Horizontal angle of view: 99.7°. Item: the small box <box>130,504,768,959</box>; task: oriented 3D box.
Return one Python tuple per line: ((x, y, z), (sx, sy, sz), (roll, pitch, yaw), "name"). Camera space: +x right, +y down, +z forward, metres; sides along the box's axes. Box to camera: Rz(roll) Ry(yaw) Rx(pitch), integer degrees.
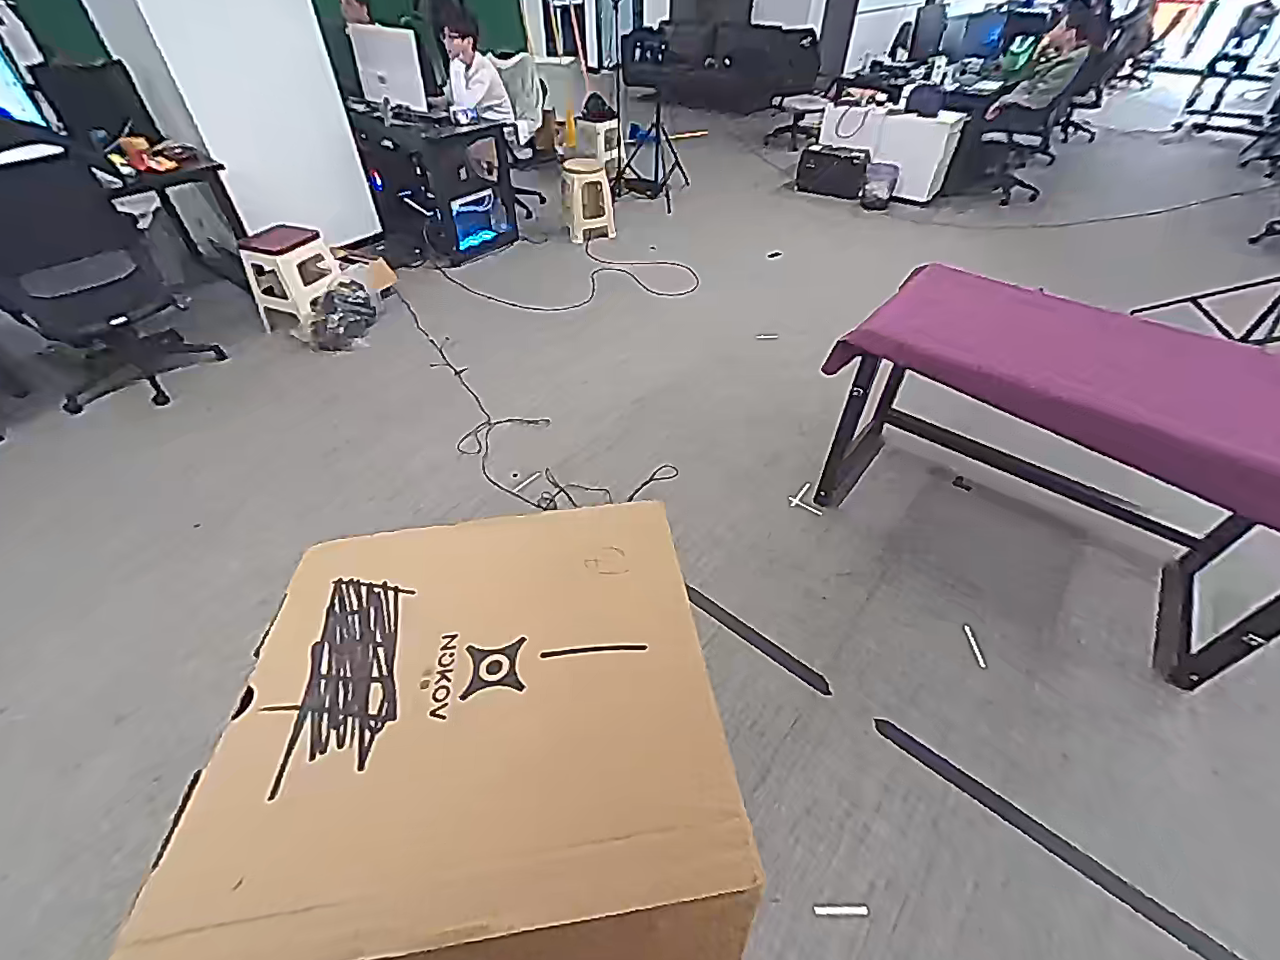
((-0.054, 0.134, 0.256), (0.179, 0.176, 0.168), (-6, 39, -5), "small box")
